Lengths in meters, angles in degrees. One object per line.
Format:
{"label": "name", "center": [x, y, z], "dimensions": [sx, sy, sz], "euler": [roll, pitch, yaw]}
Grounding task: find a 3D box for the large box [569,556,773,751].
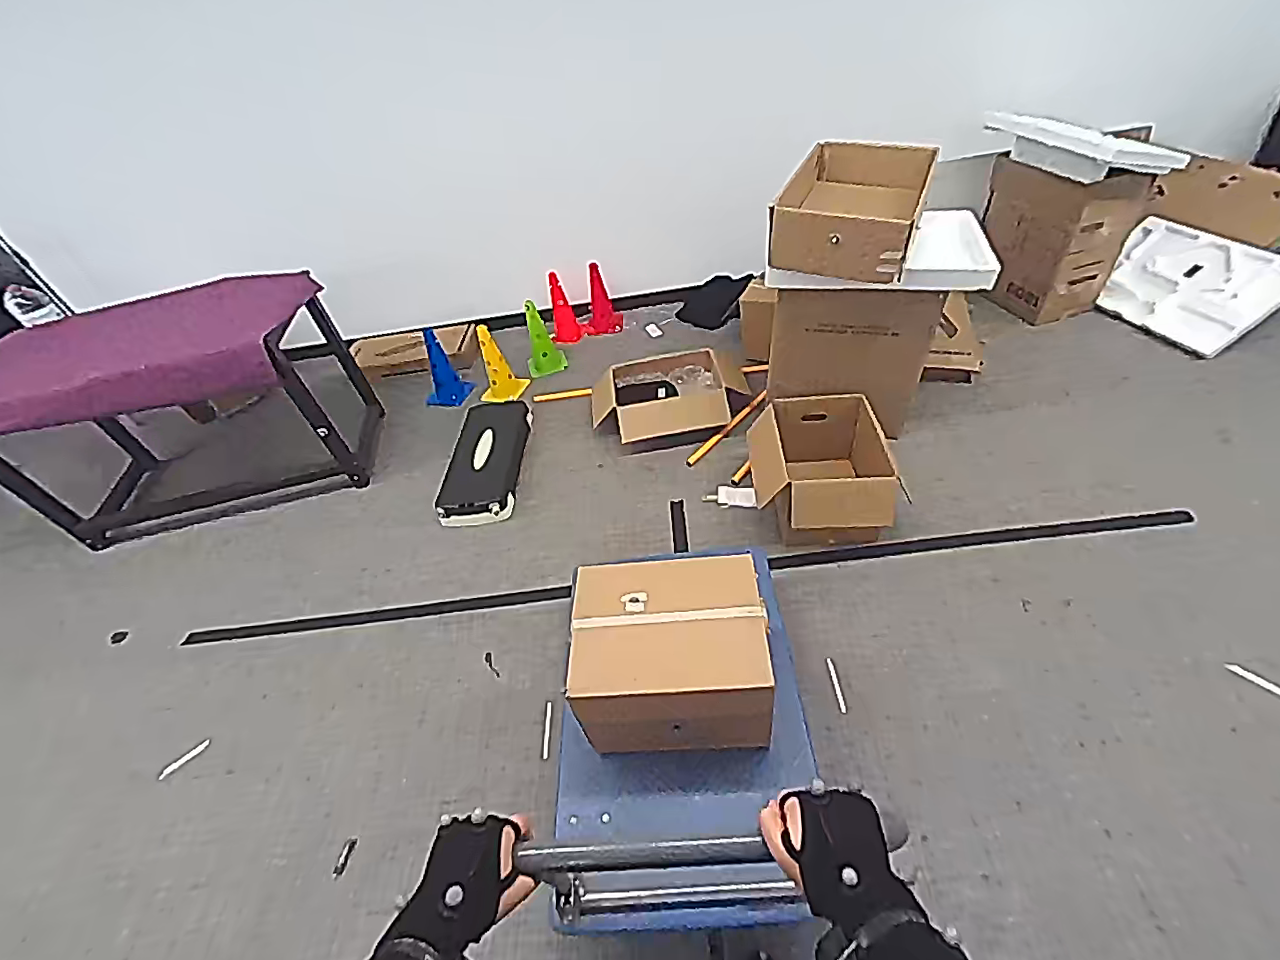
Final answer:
{"label": "large box", "center": [0.077, 0.408, 1.256], "dimensions": [0.408, 0.320, 0.320], "euler": [-6, 43, 6]}
